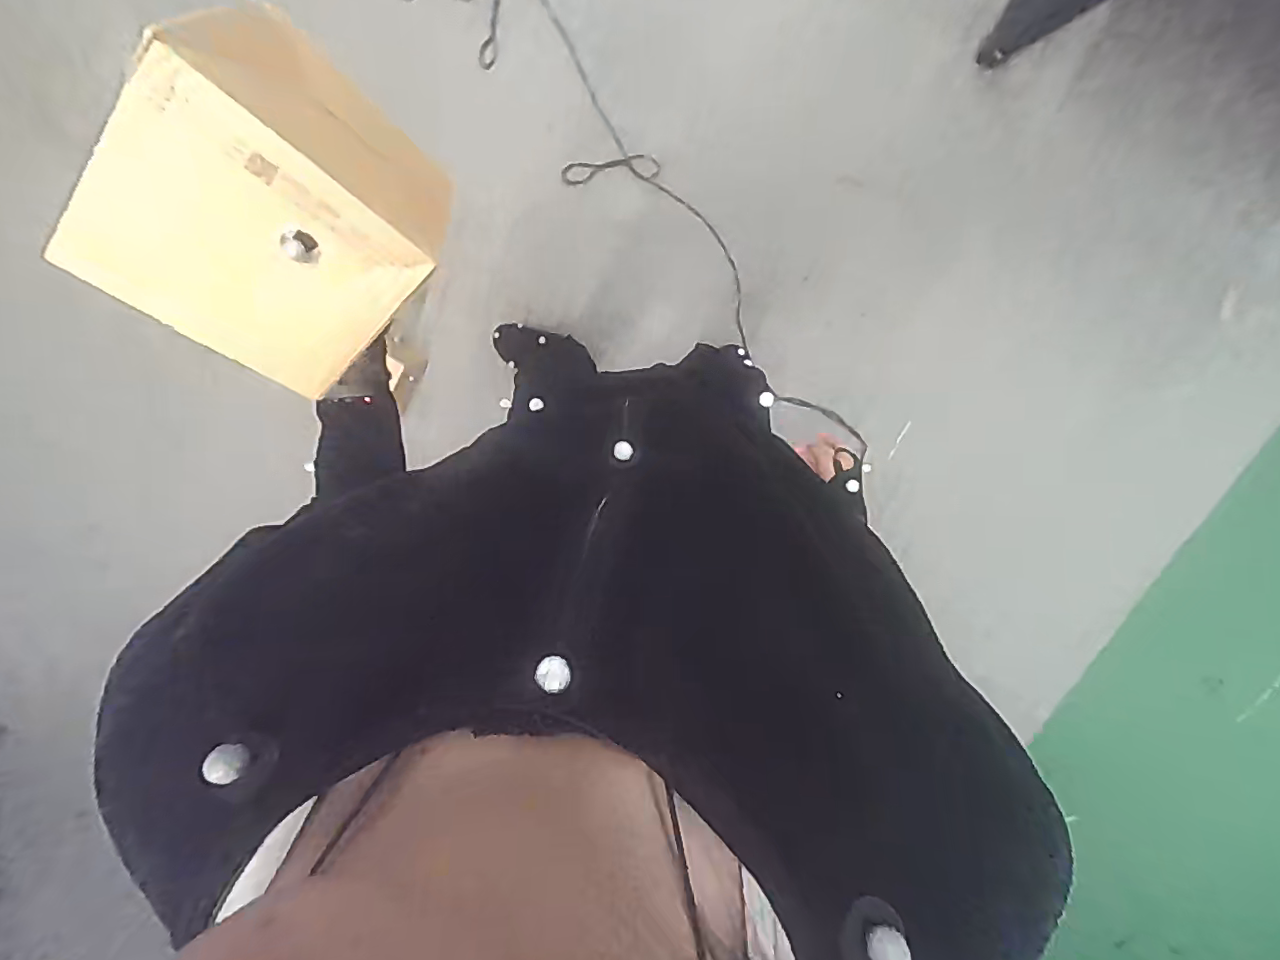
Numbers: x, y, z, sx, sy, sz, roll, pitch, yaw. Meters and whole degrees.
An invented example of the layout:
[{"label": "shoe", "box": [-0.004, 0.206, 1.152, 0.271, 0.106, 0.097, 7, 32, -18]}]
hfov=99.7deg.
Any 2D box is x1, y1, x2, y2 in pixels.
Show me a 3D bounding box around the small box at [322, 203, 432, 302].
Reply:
[{"label": "small box", "box": [-0.599, -0.520, 1.249, 0.179, 0.176, 0.168, 13, 109, -6]}]
